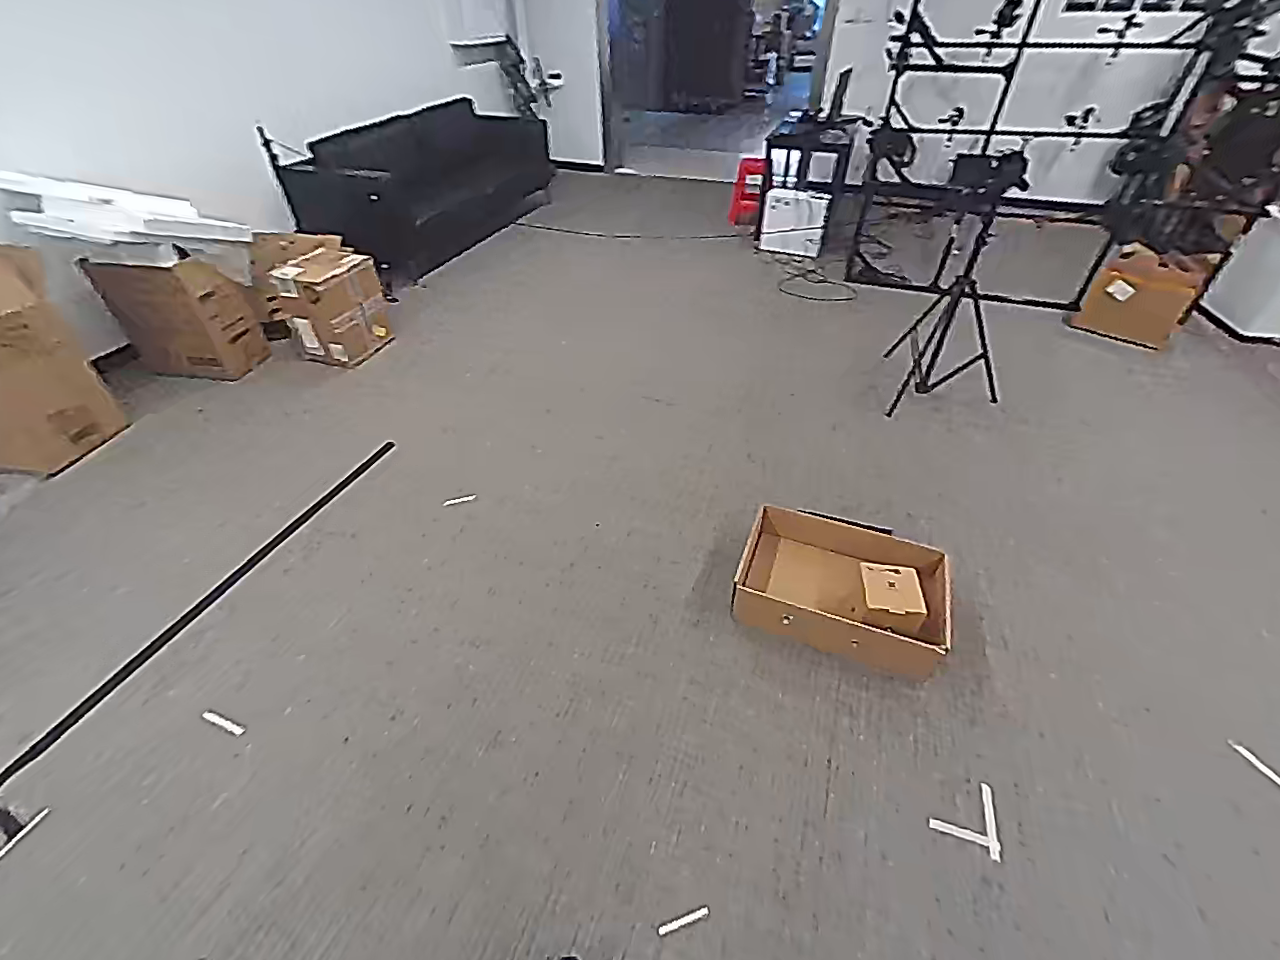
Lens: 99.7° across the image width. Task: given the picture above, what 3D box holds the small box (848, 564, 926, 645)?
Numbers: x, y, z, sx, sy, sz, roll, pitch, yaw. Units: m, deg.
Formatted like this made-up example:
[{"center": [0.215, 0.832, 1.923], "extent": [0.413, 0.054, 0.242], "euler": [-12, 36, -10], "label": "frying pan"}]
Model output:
[{"center": [0.750, 0.385, 1.661], "extent": [0.168, 0.176, 0.179], "euler": [6, 42, 8], "label": "small box"}]
